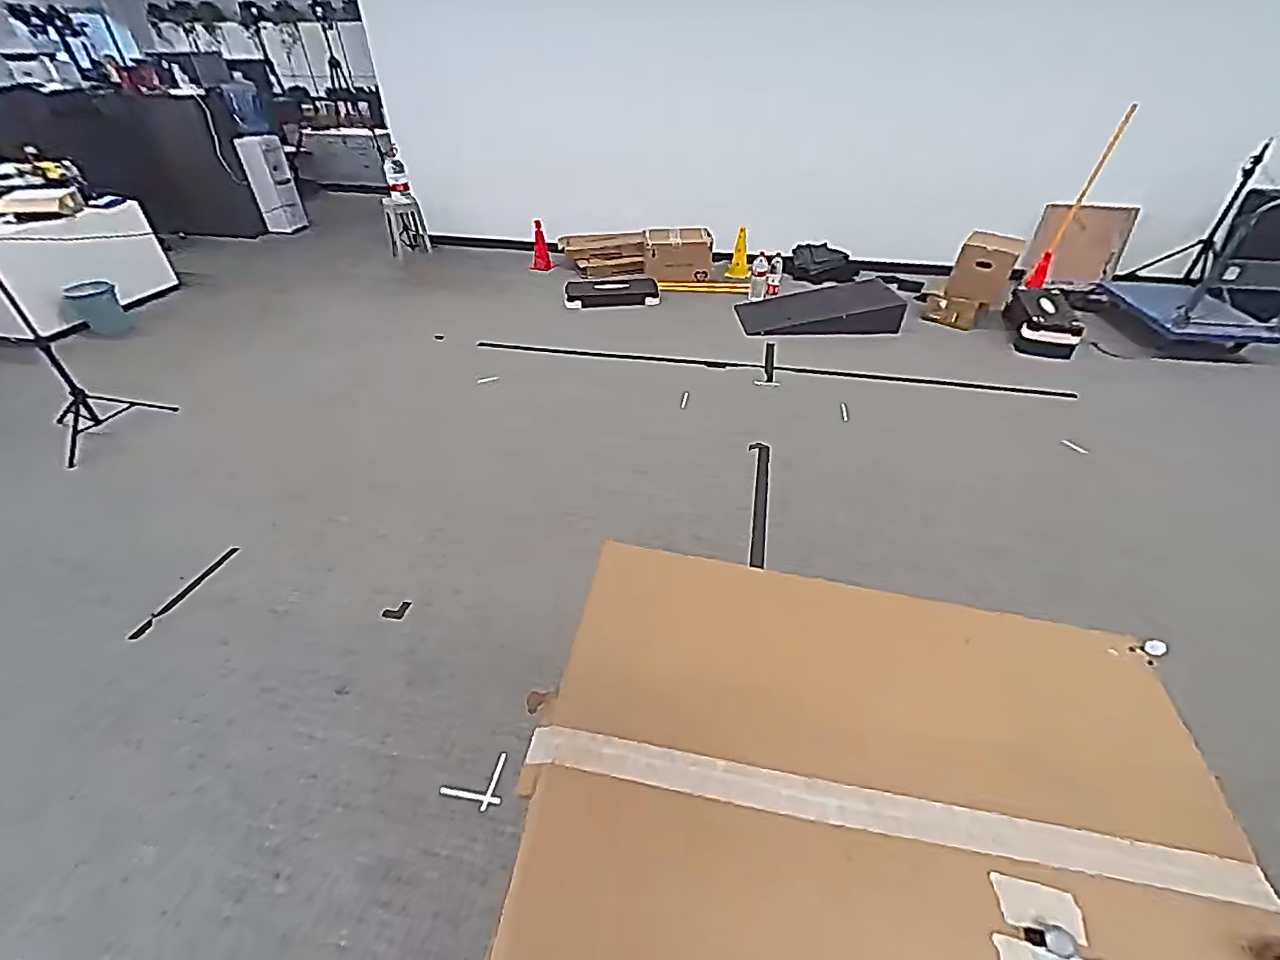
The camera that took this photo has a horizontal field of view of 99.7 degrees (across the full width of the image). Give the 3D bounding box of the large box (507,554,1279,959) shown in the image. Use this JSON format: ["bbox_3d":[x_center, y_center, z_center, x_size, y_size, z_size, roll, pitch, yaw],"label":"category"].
[{"bbox_3d":[0.130,0.300,0.420,0.408,0.320,0.320,10,46,3],"label":"large box"}]
